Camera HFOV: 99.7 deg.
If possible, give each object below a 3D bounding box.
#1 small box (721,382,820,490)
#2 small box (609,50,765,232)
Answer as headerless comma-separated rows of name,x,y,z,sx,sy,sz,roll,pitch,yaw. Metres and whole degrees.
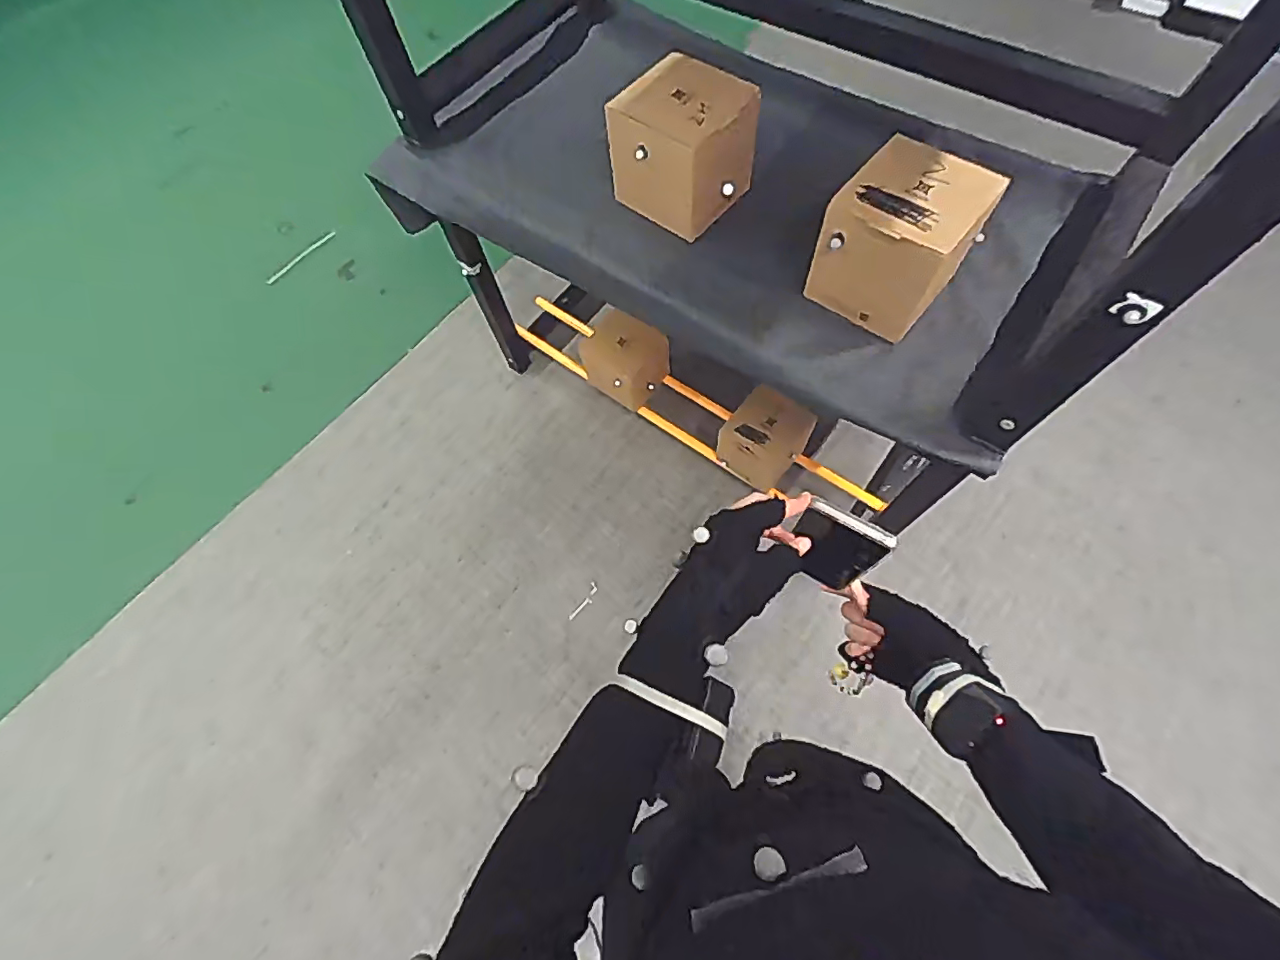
small box,0.317,-0.103,1.349,0.168,0.176,0.179,38,74,18
small box,0.075,-0.543,0.879,0.179,0.176,0.168,37,74,18
